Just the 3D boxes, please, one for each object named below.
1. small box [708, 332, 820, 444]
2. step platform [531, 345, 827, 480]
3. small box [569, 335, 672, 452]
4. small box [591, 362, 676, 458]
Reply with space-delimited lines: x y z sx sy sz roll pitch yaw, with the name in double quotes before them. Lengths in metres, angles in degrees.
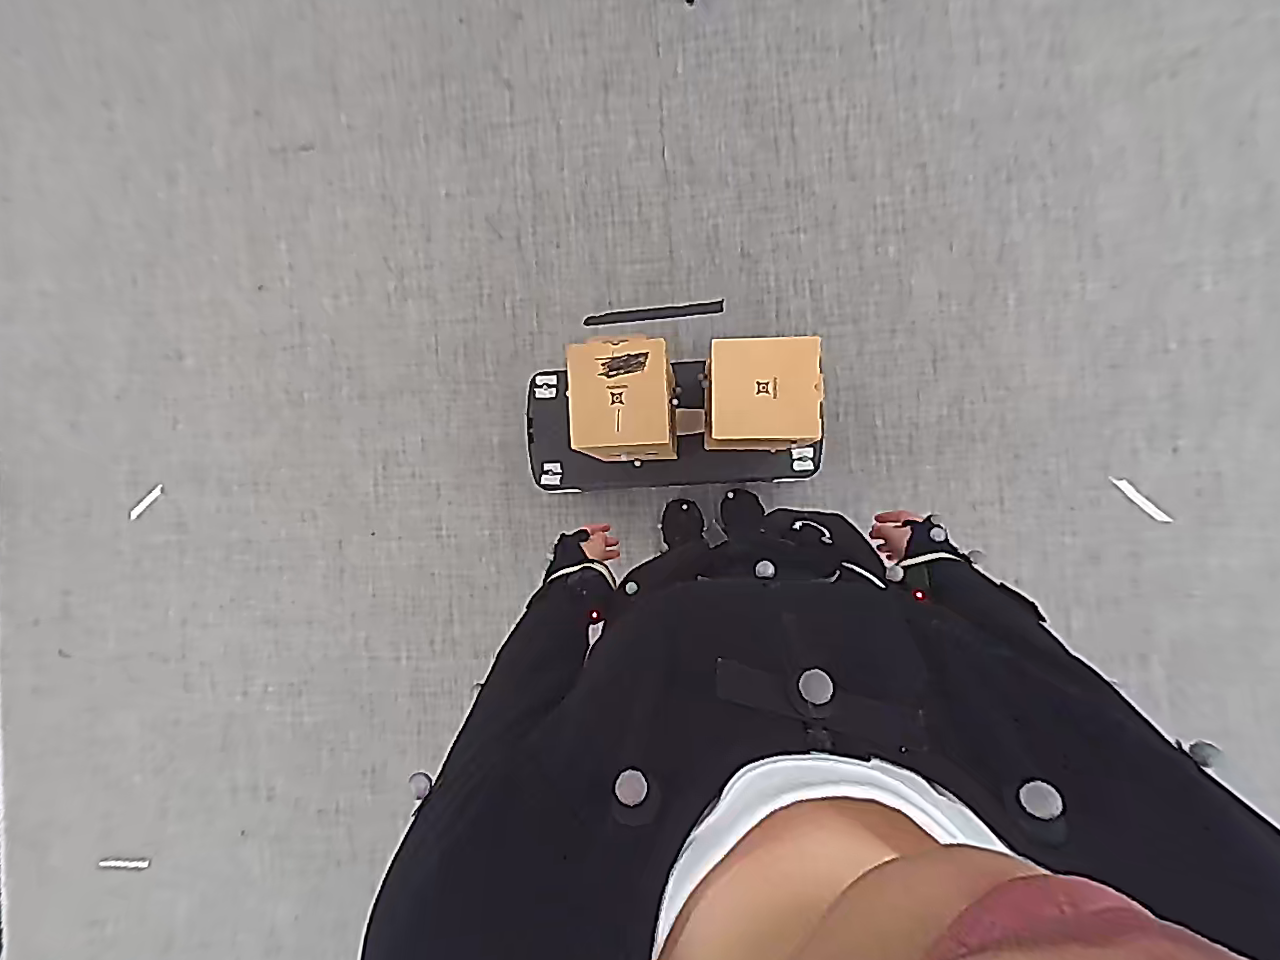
"small box" 0.207 -0.153 0.947 0.179 0.176 0.168 -1 89 5
"step platform" 0.087 -0.159 1.296 0.684 0.204 0.286 -4 88 6
"small box" -0.030 -0.146 0.968 0.168 0.176 0.179 -2 89 6
"small box" -0.011 -0.140 1.131 0.168 0.176 0.179 -2 89 6
